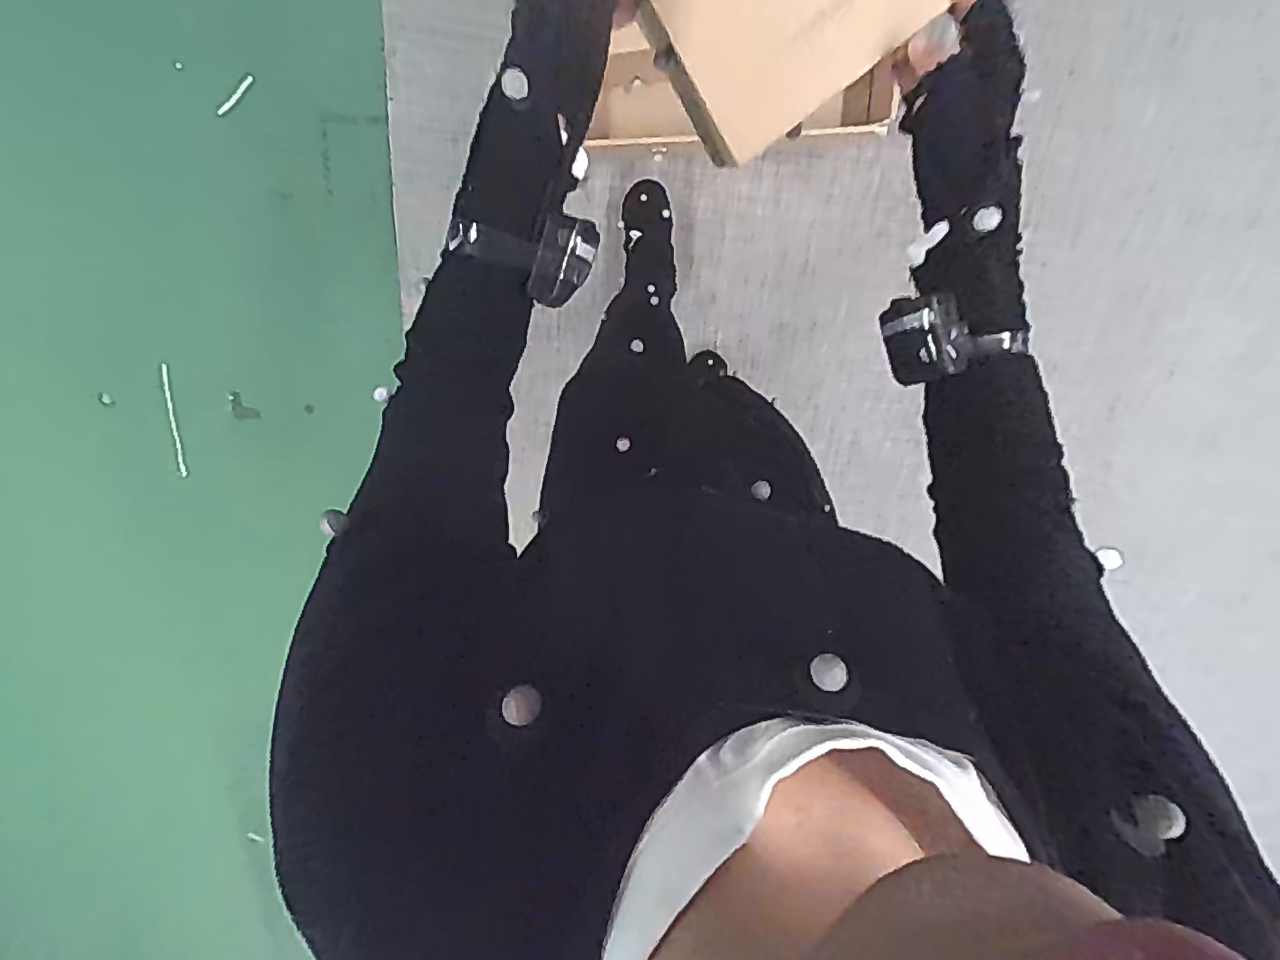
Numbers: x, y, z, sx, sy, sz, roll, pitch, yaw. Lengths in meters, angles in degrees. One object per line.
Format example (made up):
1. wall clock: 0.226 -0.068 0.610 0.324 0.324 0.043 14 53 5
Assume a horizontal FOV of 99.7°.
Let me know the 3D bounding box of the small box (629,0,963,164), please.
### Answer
1. small box: 0.096 -0.370 0.408 0.168 0.176 0.179 -32 116 19

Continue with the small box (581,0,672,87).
1. small box: -0.014 -0.856 1.002 0.179 0.176 0.168 -3 110 3
